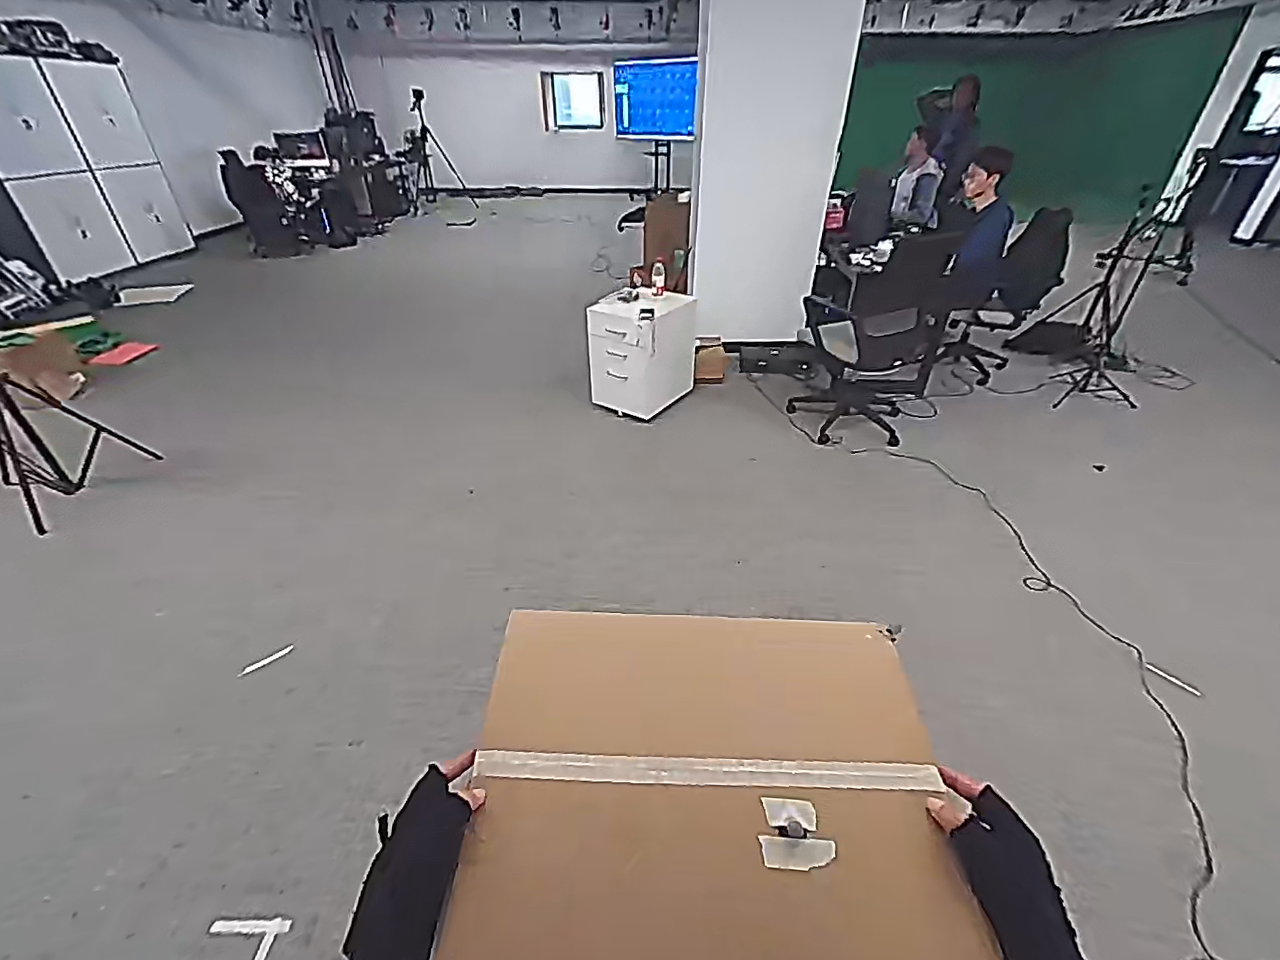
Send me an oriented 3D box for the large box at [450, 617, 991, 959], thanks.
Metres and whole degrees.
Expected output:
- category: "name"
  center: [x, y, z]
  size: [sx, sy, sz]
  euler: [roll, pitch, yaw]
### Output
- category: "large box"
  center: [0.056, 0.370, 0.587]
  size: [0.408, 0.320, 0.320]
  euler: [2, 44, 0]
